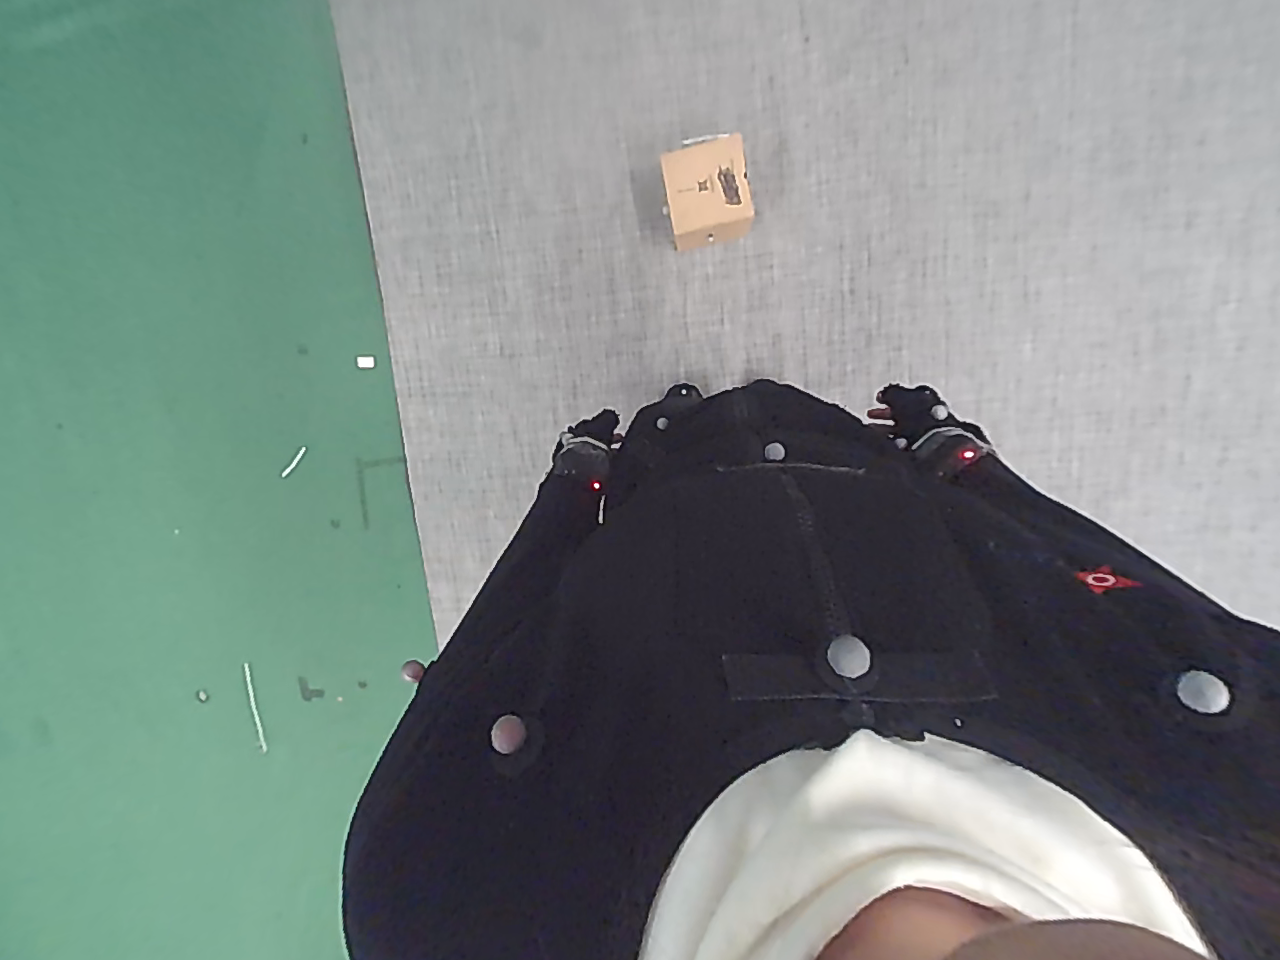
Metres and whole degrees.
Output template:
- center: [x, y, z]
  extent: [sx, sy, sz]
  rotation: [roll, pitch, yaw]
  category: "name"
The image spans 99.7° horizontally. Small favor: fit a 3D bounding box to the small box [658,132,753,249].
- center: [0.146, -0.648, 1.230]
  extent: [0.179, 0.176, 0.168]
  rotation: [-13, 99, 8]
  category: "small box"
